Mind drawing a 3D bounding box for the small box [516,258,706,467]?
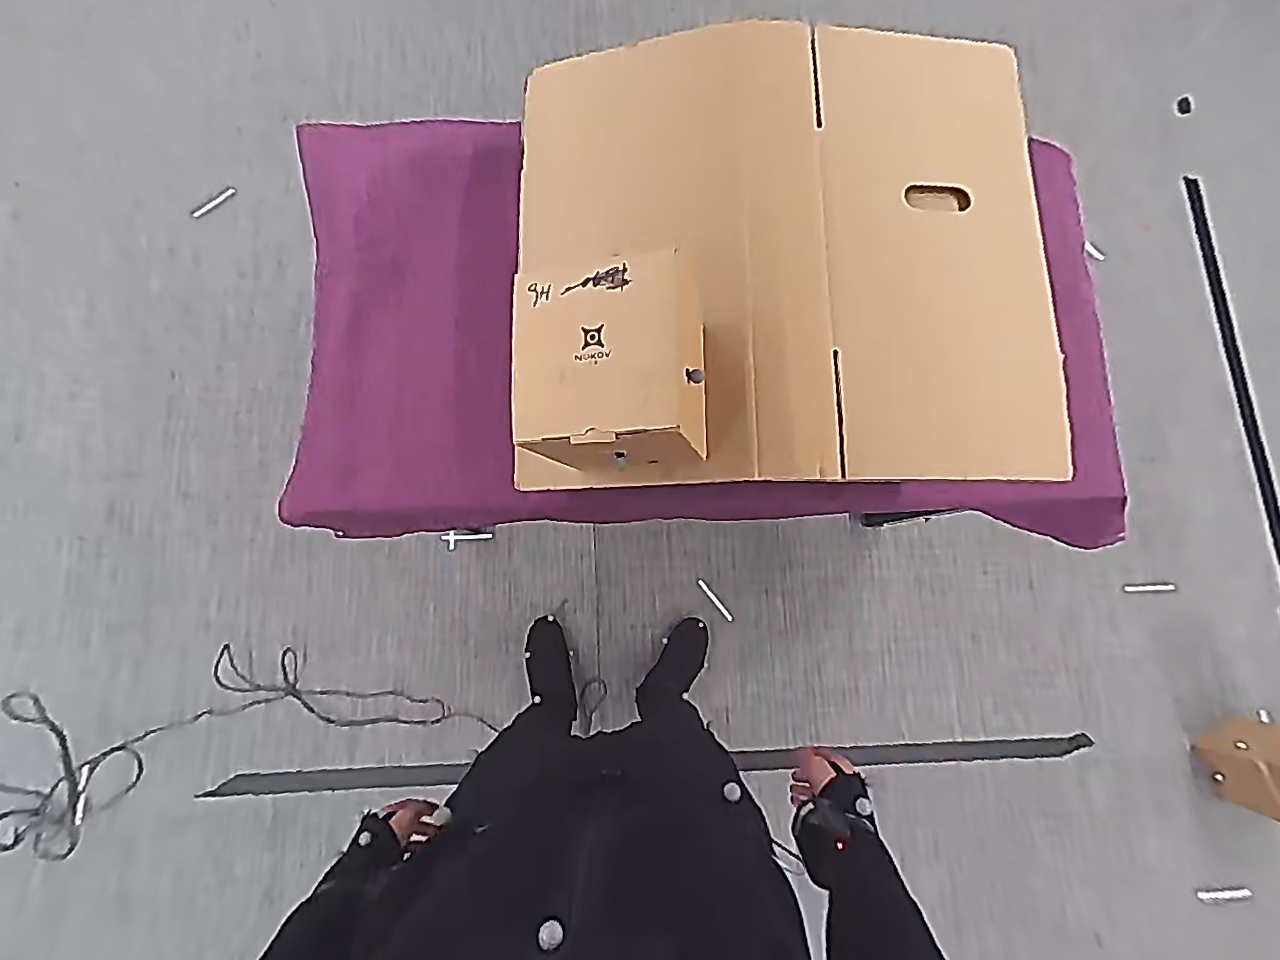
[{"bbox_3d":[-0.021,-0.110,0.591,0.168,0.176,0.179,-3,82,15],"label":"small box"}]
